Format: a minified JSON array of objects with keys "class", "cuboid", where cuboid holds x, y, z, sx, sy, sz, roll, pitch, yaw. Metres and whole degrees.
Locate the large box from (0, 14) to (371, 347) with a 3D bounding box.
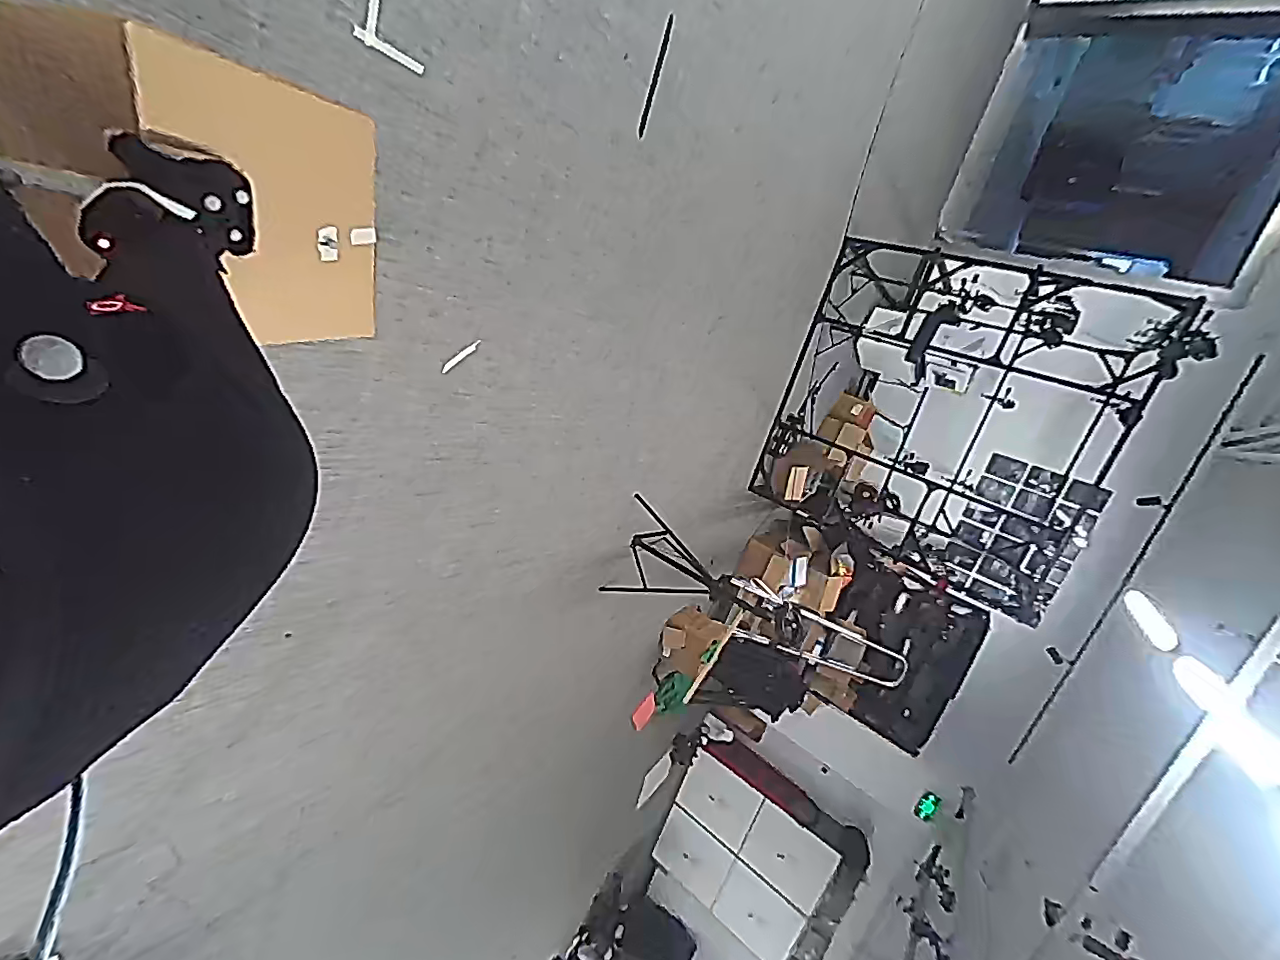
[{"class":"large box","cuboid":[-0.643,-0.379,0.741,0.320,0.408,0.320,-39,143,-67]}]
